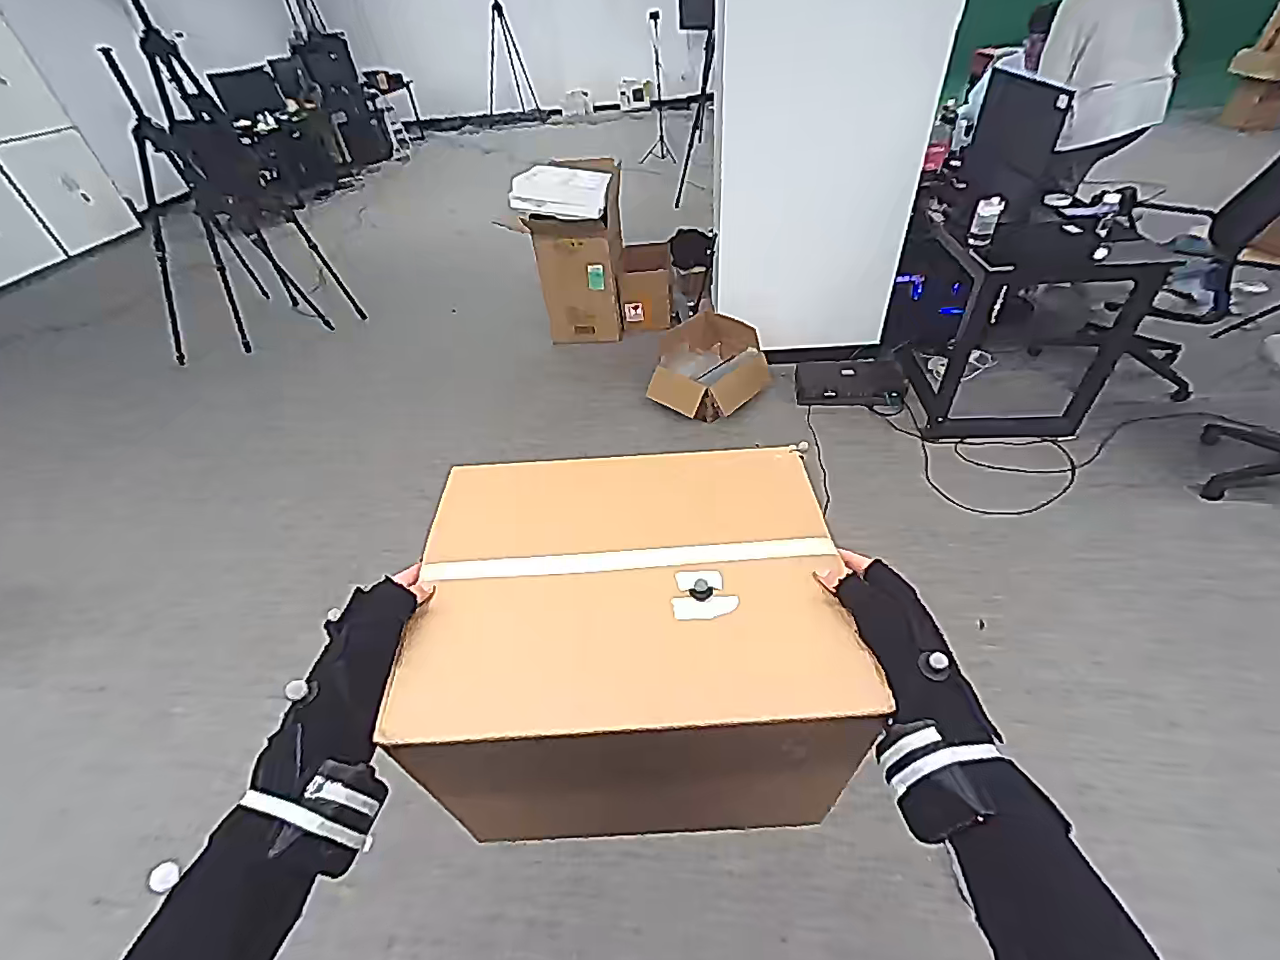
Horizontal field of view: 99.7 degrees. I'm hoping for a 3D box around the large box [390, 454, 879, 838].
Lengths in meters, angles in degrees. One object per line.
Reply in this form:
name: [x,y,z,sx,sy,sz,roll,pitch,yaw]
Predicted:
large box: [-0.006,0.193,0.639,0.408,0.320,0.320,-3,44,0]
